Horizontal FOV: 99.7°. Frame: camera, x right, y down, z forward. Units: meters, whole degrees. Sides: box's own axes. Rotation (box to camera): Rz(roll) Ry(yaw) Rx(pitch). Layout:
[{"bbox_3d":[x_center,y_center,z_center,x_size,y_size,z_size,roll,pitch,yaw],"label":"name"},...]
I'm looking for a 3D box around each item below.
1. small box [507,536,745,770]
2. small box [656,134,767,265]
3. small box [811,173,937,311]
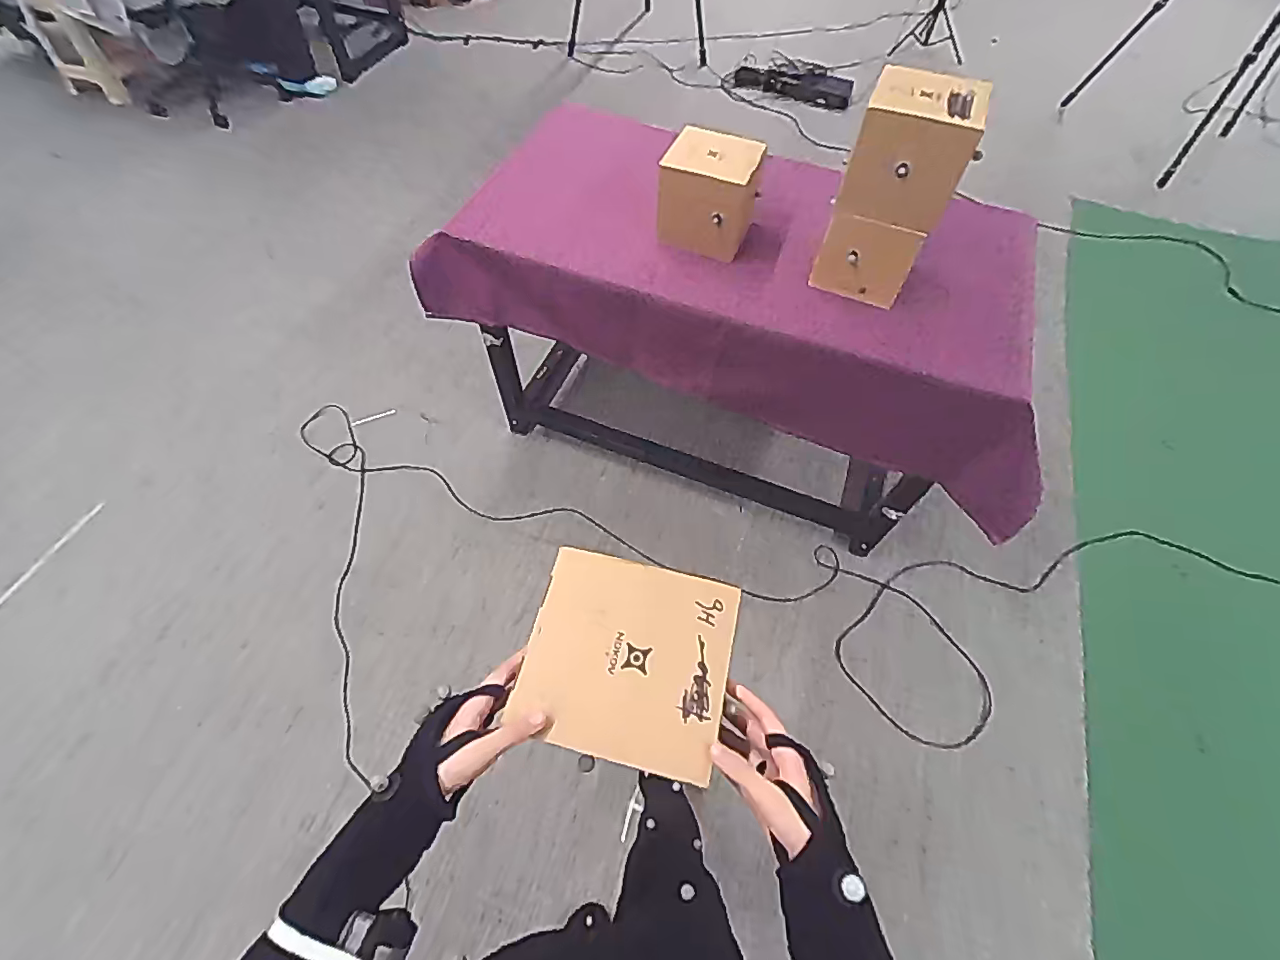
[{"bbox_3d":[-0.006,0.179,0.539,0.179,0.176,0.168,13,61,8],"label":"small box"},{"bbox_3d":[0.144,-0.579,1.128,0.179,0.176,0.168,20,59,11],"label":"small box"},{"bbox_3d":[0.452,-0.464,1.065,0.168,0.176,0.179,21,59,11],"label":"small box"}]
